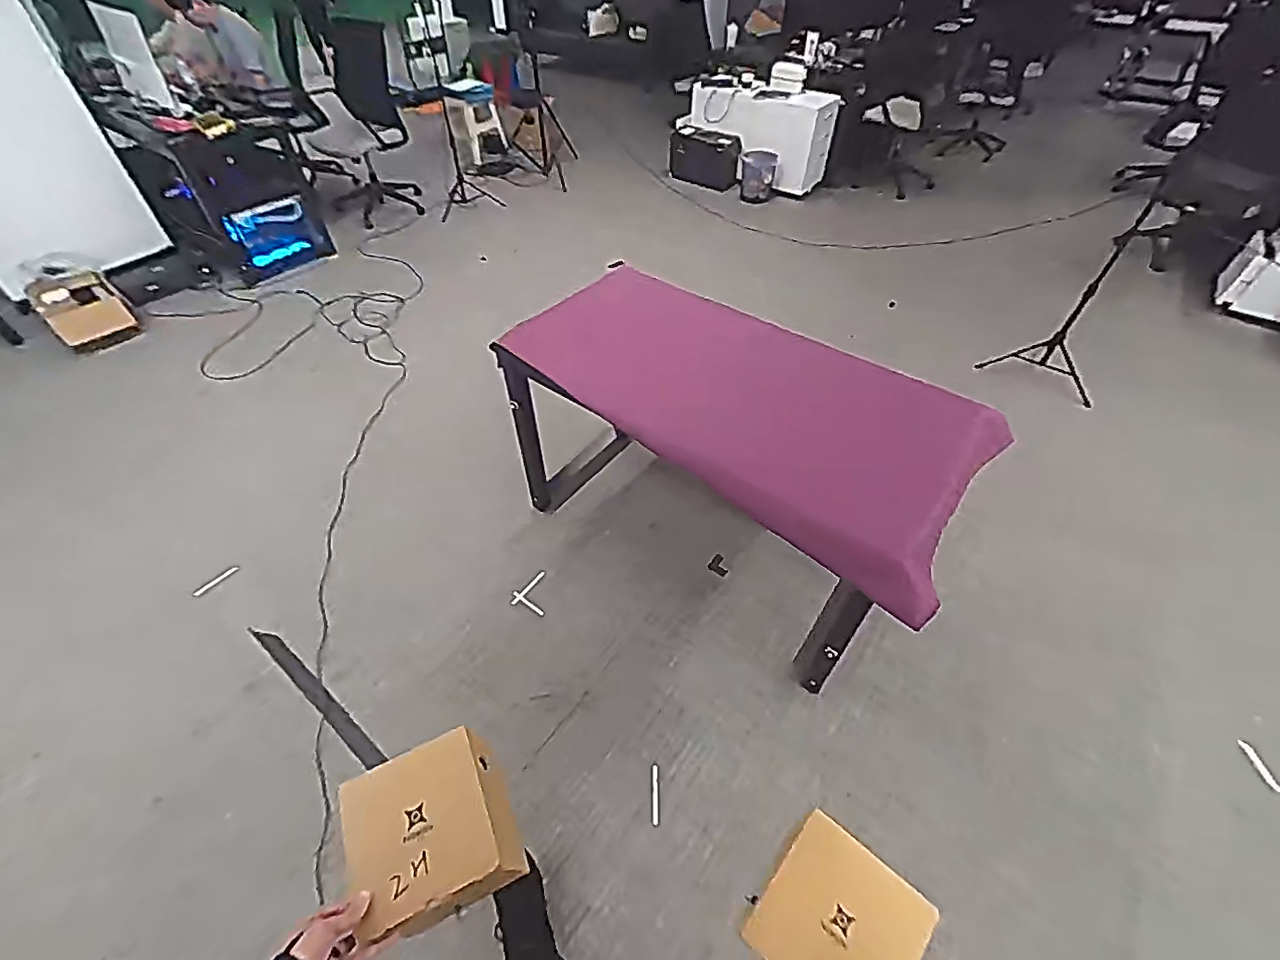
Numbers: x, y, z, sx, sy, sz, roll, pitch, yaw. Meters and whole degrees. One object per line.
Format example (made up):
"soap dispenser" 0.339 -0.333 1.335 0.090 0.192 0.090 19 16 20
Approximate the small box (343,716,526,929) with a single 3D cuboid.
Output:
"small box" -0.265 0.452 0.718 0.168 0.176 0.179 -22 55 -13

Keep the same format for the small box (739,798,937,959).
"small box" 0.239 0.552 0.695 0.168 0.176 0.179 32 64 27
